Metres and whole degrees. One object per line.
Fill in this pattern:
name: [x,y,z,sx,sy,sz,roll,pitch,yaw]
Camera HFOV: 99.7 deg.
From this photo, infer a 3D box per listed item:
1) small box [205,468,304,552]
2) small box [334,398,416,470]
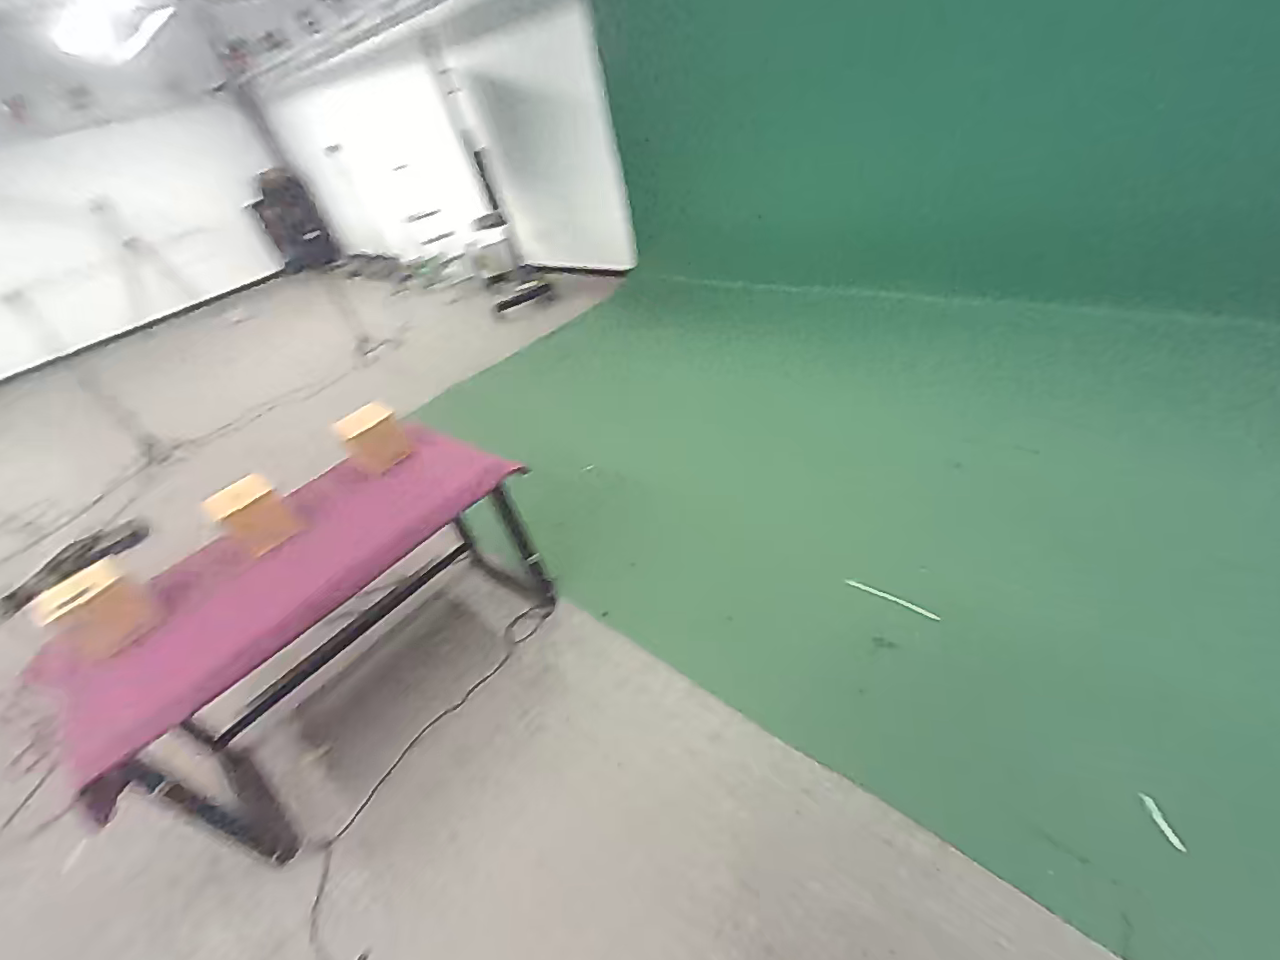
small box: [-1.187,0.094,1.669,0.179,0.176,0.168,23,51,37]
small box: [-0.926,-0.160,1.897,0.179,0.176,0.168,24,54,38]
